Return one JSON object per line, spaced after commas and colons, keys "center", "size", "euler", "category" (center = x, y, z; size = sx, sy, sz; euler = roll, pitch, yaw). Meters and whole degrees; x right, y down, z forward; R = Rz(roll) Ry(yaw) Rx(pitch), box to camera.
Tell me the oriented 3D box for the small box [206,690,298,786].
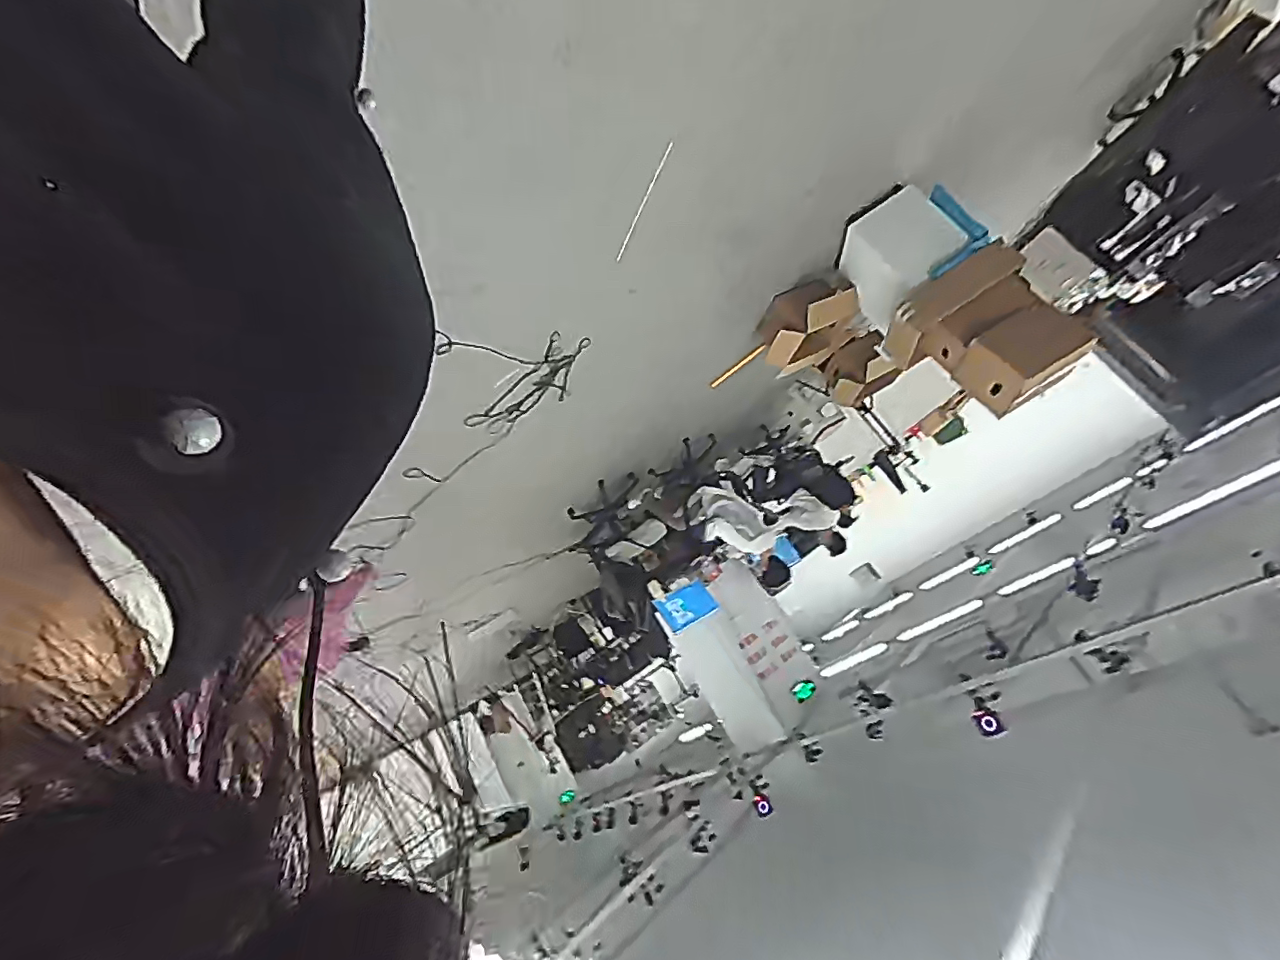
{"center": [-1.058, 0.703, 1.483], "size": [0.168, 0.176, 0.179], "euler": [-19, 159, -38], "category": "small box"}
